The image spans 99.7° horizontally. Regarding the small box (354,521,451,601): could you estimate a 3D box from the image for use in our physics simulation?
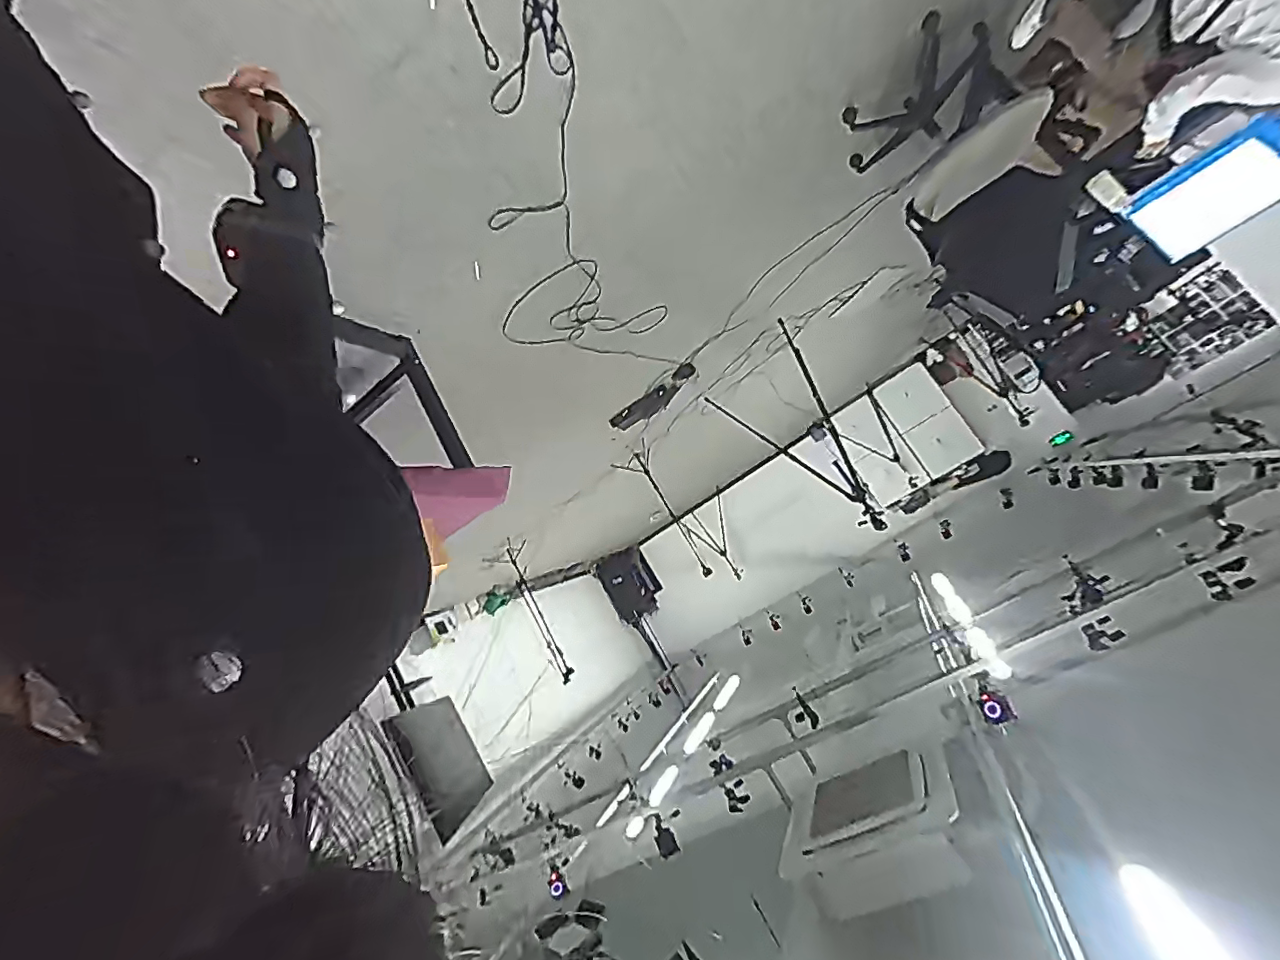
[{"bbox_3d":[-0.718,0.237,1.628,0.168,0.176,0.179,-36,167,19],"label":"small box"}]
